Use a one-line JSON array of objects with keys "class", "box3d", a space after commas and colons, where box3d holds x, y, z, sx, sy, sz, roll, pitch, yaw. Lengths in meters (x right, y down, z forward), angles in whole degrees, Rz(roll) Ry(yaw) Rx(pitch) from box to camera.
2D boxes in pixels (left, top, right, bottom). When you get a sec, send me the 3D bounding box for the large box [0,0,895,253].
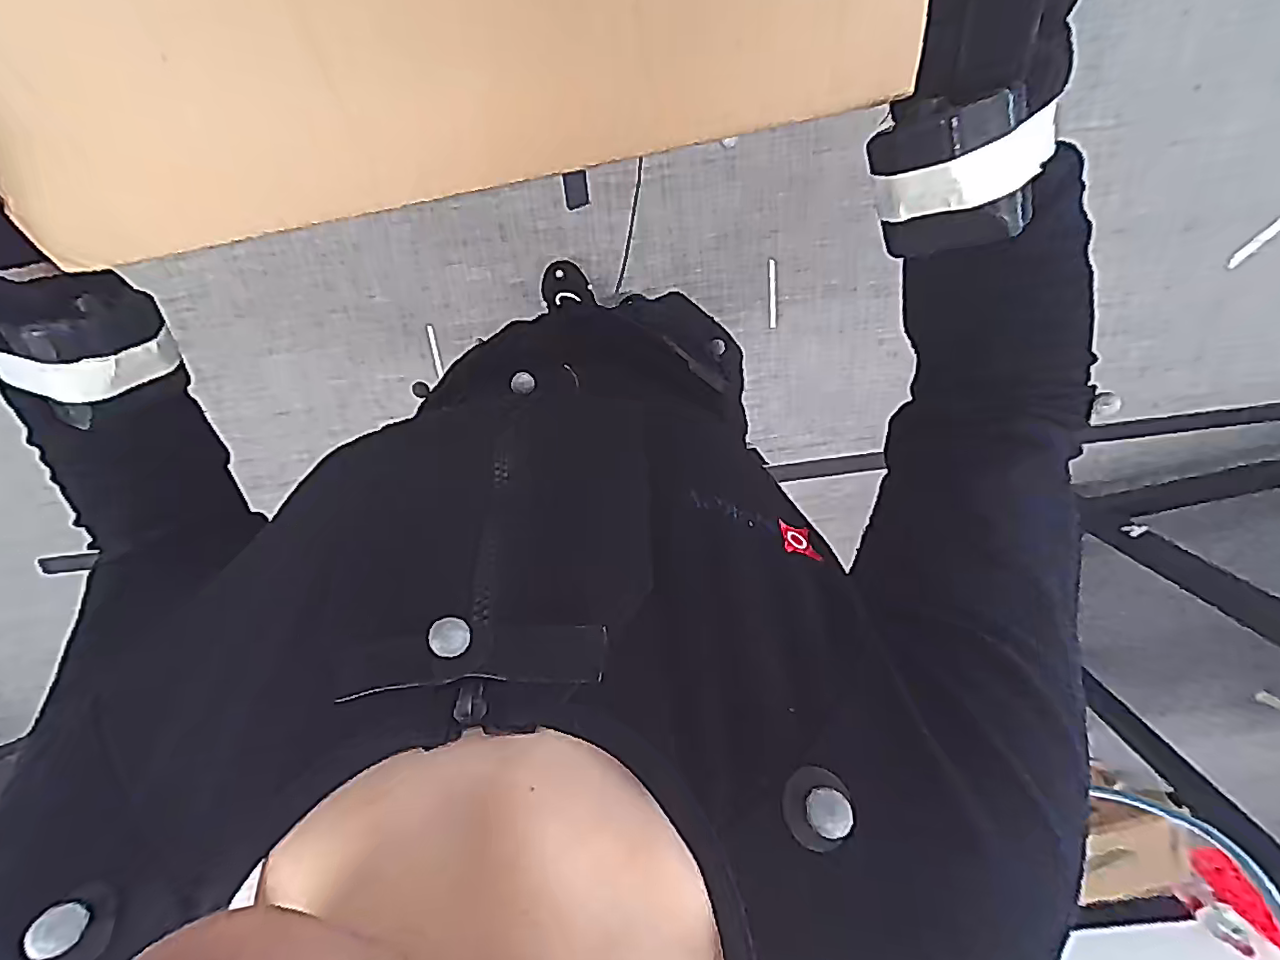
[{"class": "large box", "box3d": [-0.119, -0.358, 0.259, 0.408, 0.320, 0.320, -10, 132, 4]}]
